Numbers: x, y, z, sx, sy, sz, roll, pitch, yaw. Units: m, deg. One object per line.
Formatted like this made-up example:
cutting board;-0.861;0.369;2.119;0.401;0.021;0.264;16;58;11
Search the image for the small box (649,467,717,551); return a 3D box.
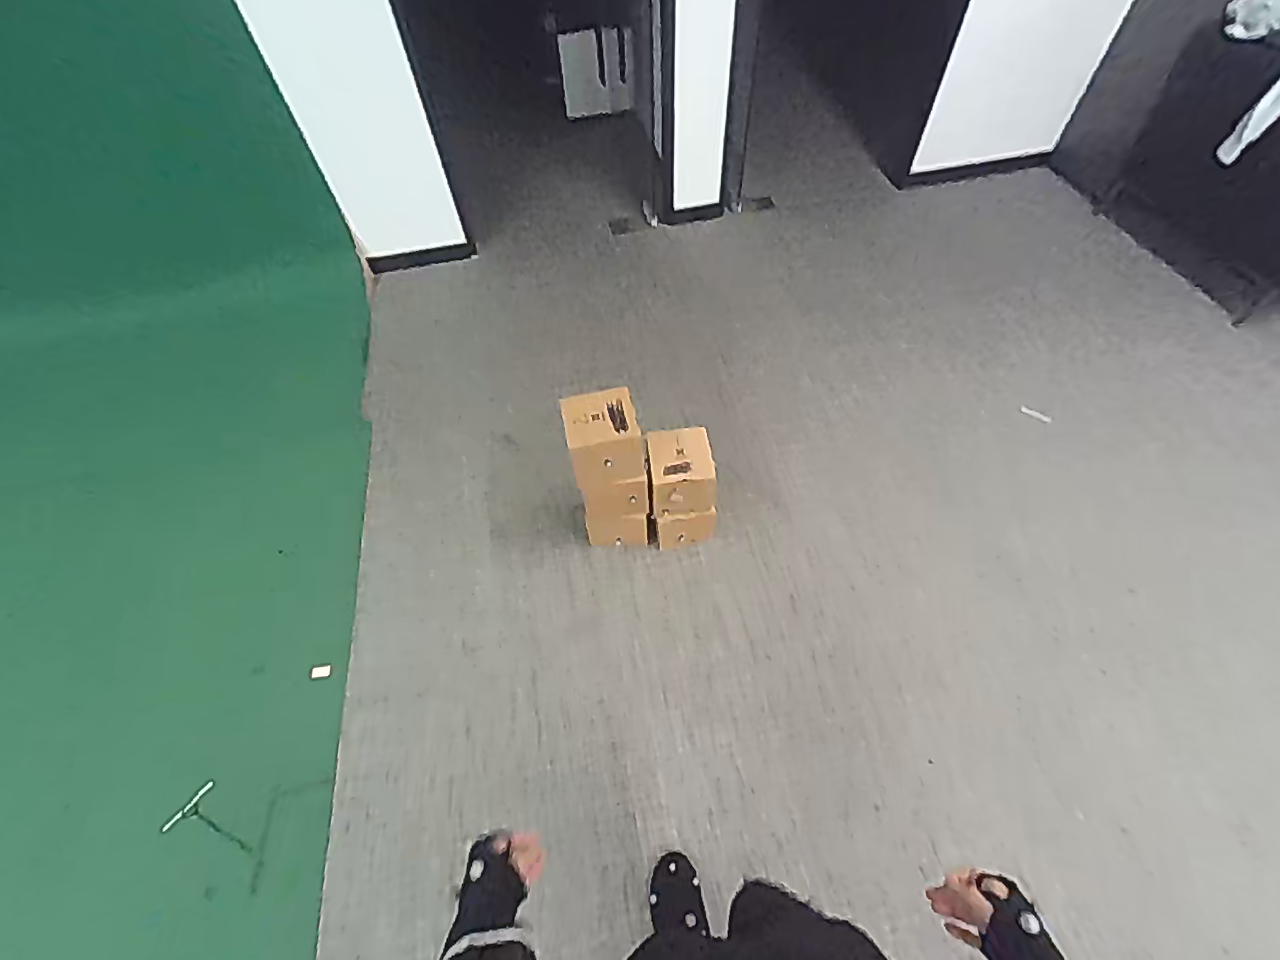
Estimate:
small box;0.124;0.090;1.622;0.168;0.176;0.179;-11;57;-4
